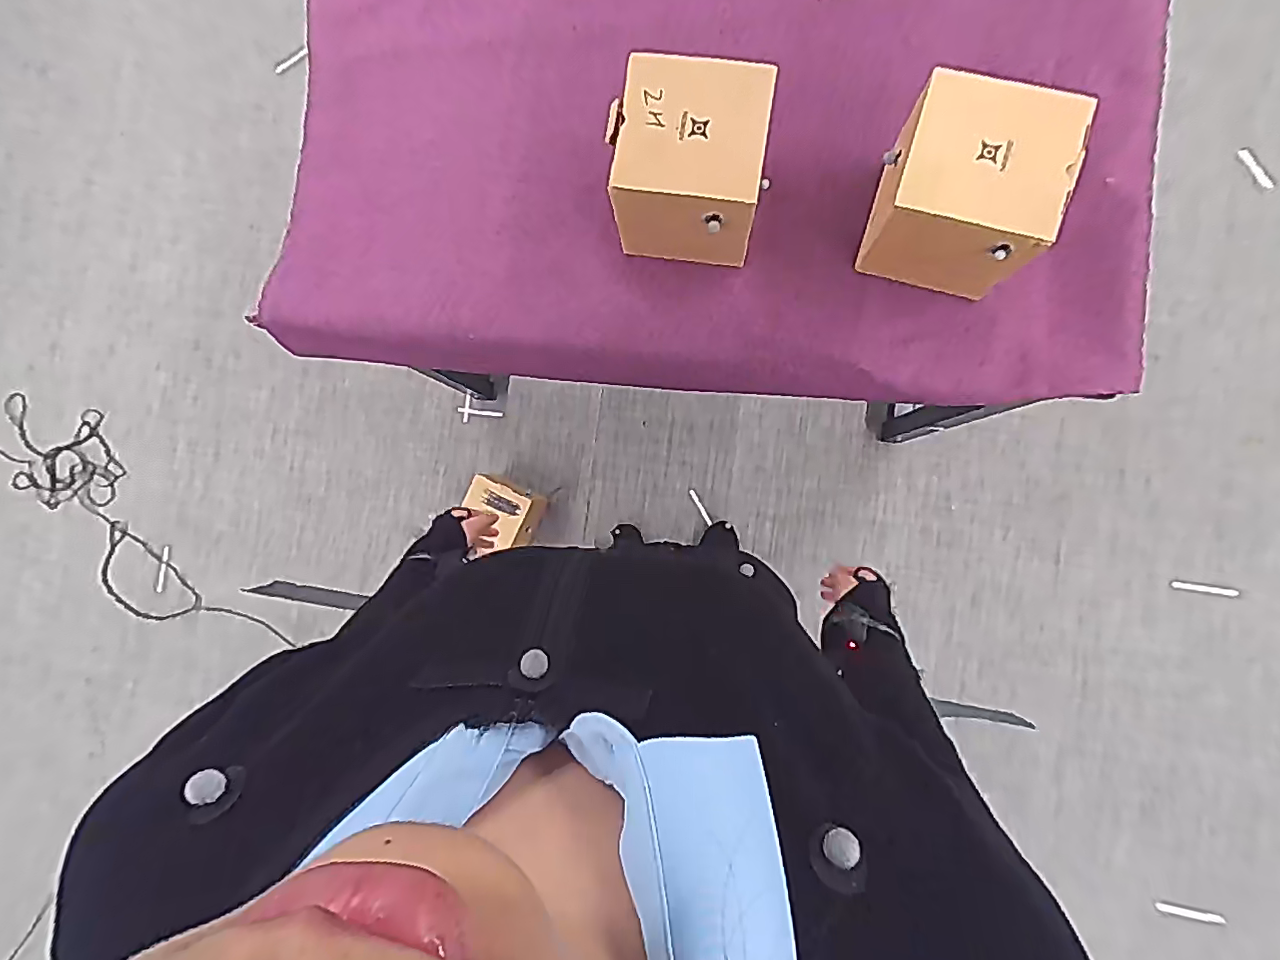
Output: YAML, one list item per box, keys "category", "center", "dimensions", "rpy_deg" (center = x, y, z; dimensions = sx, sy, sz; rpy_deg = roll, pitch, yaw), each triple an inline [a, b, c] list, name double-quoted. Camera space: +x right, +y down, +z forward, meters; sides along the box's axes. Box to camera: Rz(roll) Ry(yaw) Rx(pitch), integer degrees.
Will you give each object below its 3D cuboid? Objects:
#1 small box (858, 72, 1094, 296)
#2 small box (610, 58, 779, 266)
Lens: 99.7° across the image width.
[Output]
- category: "small box"
  center: [0.395, -0.351, 0.671]
  dimensions: [0.179, 0.176, 0.168]
  rpy_deg: [17, 89, 6]
- category: "small box"
  center: [0.069, -0.398, 0.705]
  dimensions: [0.179, 0.176, 0.168]
  rpy_deg: [9, 87, 6]
